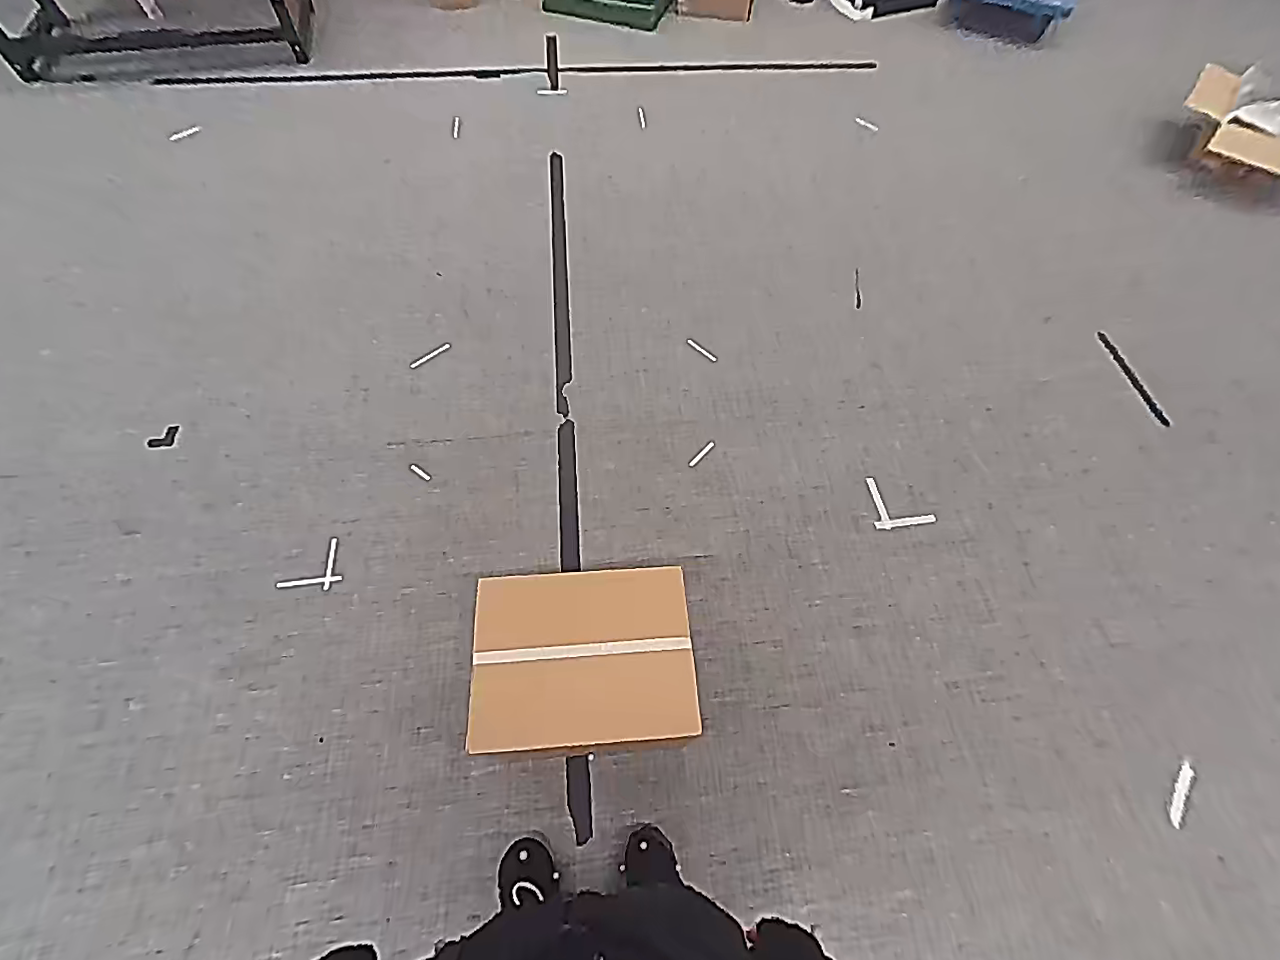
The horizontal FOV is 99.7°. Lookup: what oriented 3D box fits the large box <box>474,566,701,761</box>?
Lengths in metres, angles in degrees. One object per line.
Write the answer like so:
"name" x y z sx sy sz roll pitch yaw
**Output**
"large box" -0.108 0.393 1.137 0.408 0.320 0.320 -3 61 -4
